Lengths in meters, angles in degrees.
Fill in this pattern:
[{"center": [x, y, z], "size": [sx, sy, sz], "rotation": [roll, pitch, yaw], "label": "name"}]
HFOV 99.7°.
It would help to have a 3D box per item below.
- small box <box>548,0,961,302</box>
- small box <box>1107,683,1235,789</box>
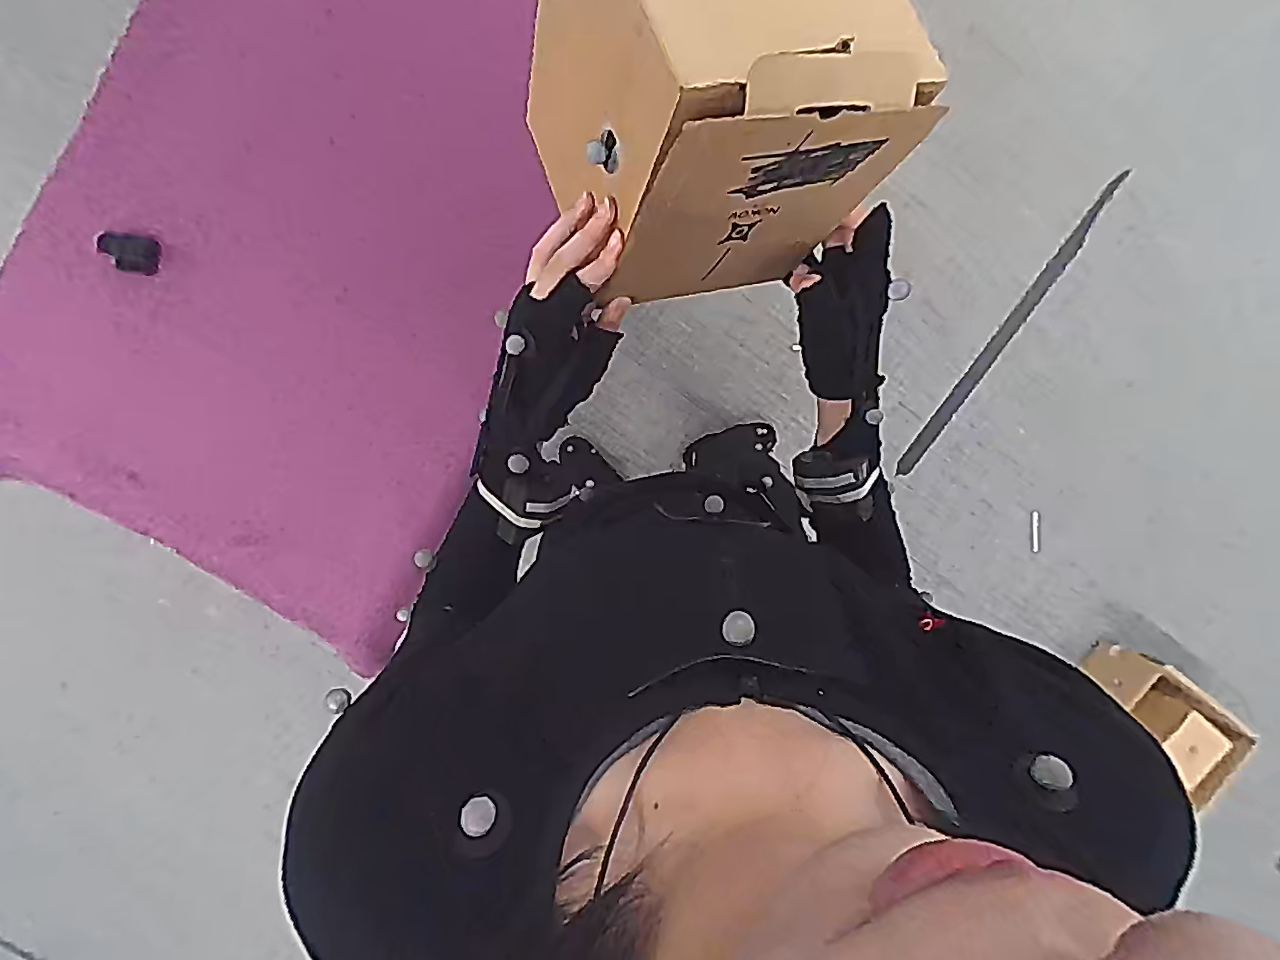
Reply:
[{"center": [0.048, -0.246, 0.348], "size": [0.168, 0.179, 0.176], "rotation": [-15, 80, -20], "label": "small box"}, {"center": [1.491, 0.719, 1.536], "size": [0.168, 0.176, 0.179], "rotation": [39, 92, -6], "label": "small box"}]
